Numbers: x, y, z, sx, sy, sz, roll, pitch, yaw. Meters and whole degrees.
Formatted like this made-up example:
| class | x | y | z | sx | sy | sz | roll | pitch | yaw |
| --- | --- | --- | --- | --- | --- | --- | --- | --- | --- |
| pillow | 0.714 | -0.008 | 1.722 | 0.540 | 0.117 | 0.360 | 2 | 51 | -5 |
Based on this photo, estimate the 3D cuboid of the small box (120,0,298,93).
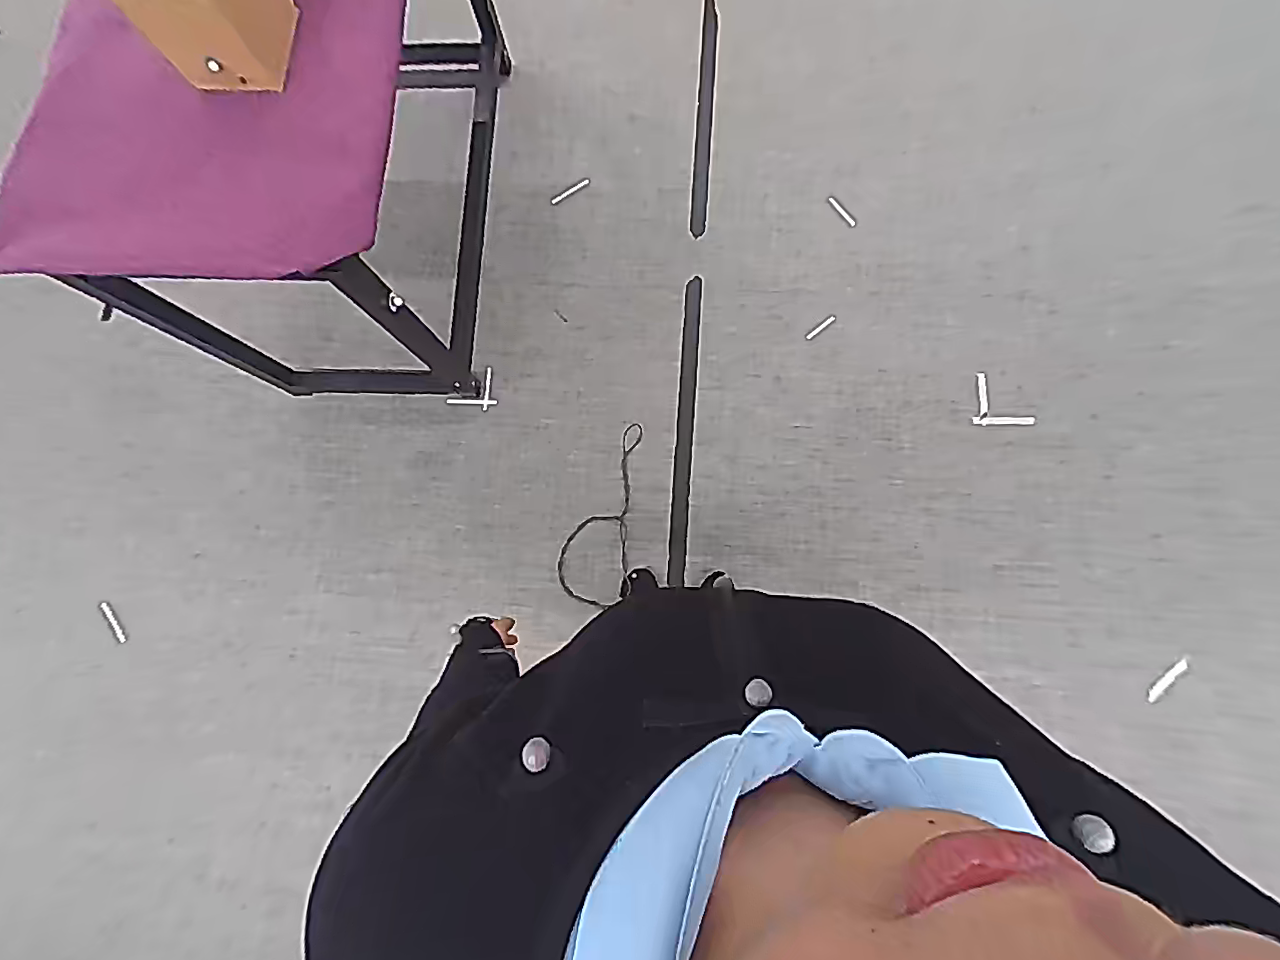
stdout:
| class | x | y | z | sx | sy | sz | roll | pitch | yaw |
| --- | --- | --- | --- | --- | --- | --- | --- | --- | --- |
| small box | -0.714 | -0.800 | 0.908 | 0.168 | 0.176 | 0.179 | 3 | 80 | 4 |
